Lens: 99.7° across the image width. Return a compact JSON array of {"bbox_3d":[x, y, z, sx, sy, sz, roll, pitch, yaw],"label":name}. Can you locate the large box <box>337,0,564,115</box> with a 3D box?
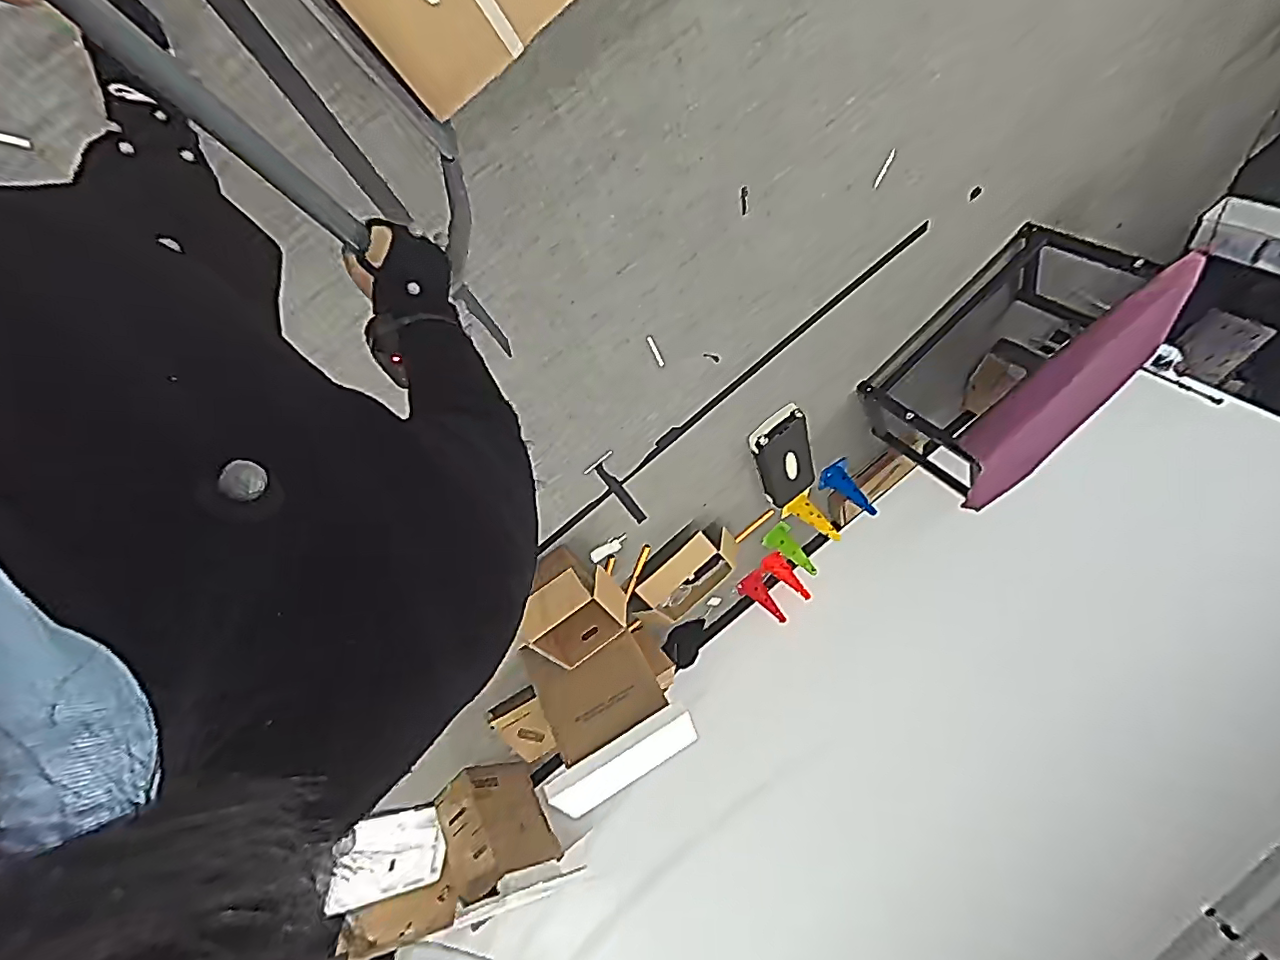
[{"bbox_3d":[-0.334,-0.826,0.726,0.320,0.320,0.408,-33,145,13],"label":"large box"}]
